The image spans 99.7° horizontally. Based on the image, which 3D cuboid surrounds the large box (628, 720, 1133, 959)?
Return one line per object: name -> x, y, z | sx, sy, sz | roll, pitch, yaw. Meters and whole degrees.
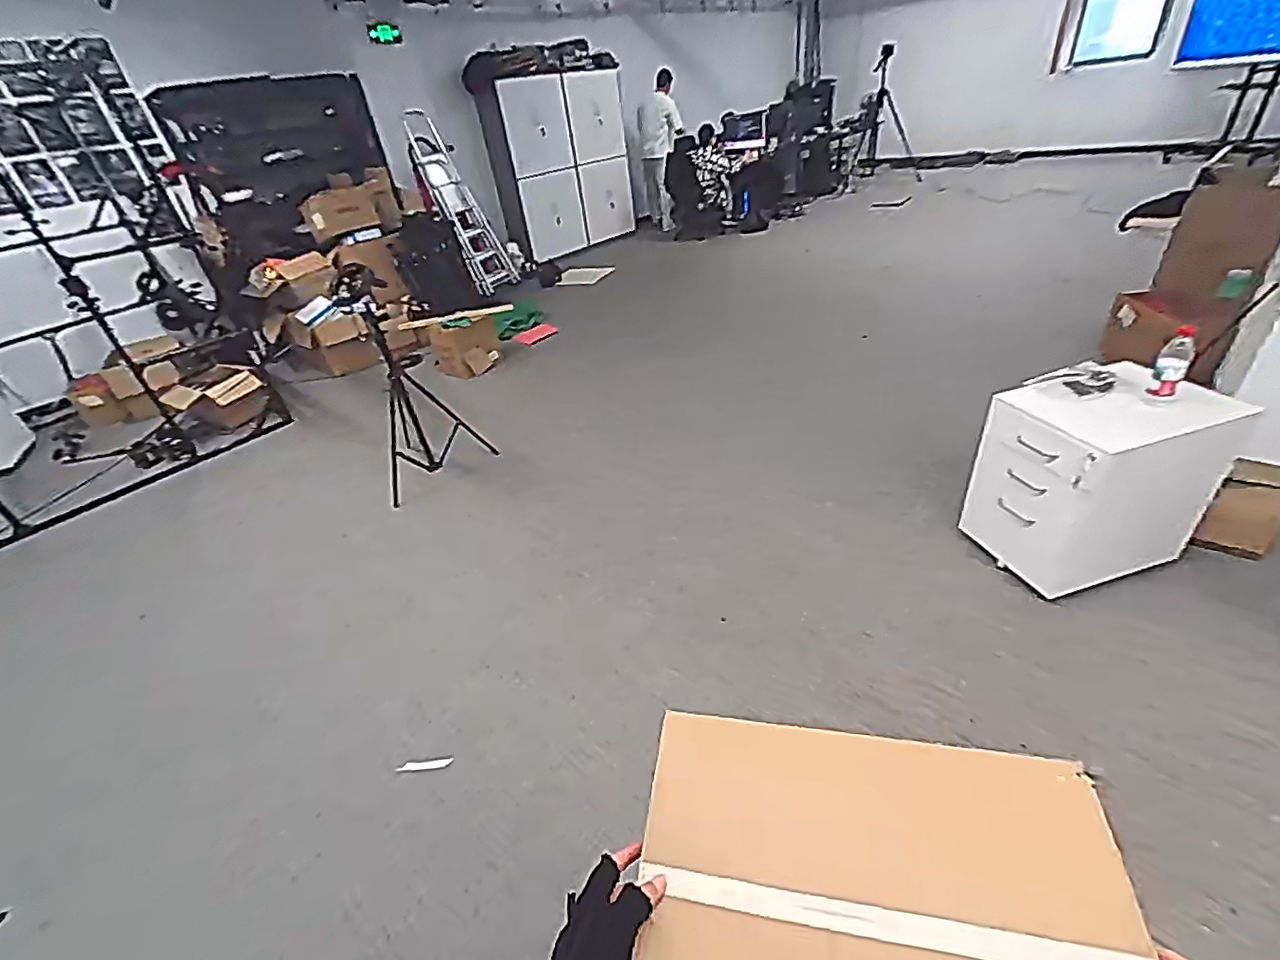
large box -> 0.213, 0.488, 0.560 | 0.408, 0.320, 0.320 | 1, 43, 14
